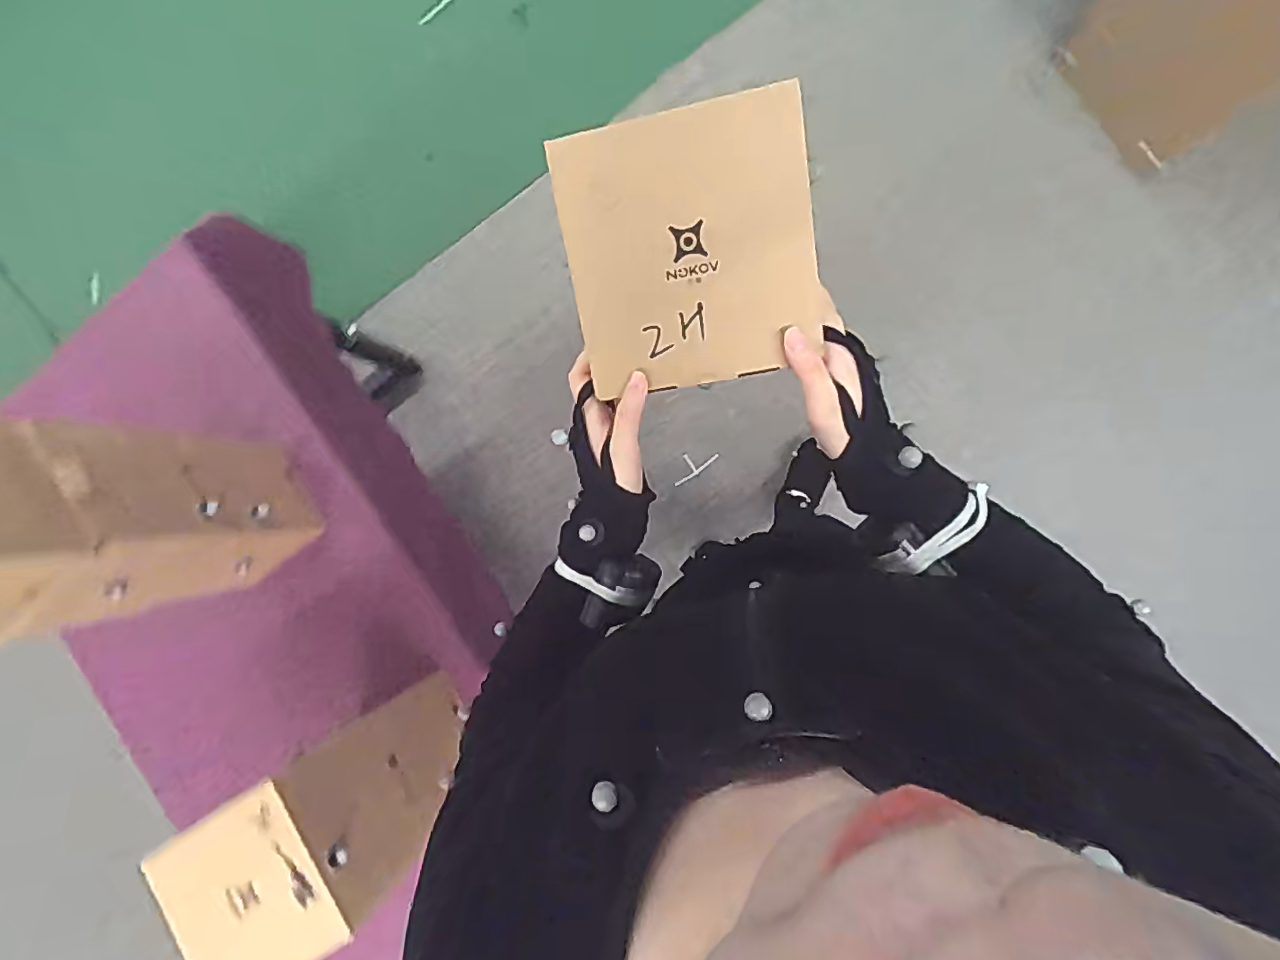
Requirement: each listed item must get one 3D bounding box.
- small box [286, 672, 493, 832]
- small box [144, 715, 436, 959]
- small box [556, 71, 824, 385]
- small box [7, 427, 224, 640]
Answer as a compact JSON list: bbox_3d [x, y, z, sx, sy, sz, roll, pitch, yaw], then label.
[{"bbox_3d":[-0.342,0.403,0.760,0.179,0.176,0.168,-33,84,6],"label":"small box"},{"bbox_3d":[-0.367,0.399,0.597,0.179,0.176,0.168,-34,85,7],"label":"small box"},{"bbox_3d":[0.044,-0.182,0.440,0.168,0.176,0.179,-7,106,9],"label":"small box"},{"bbox_3d":[-0.656,0.058,0.652,0.179,0.176,0.168,-40,83,7],"label":"small box"}]
